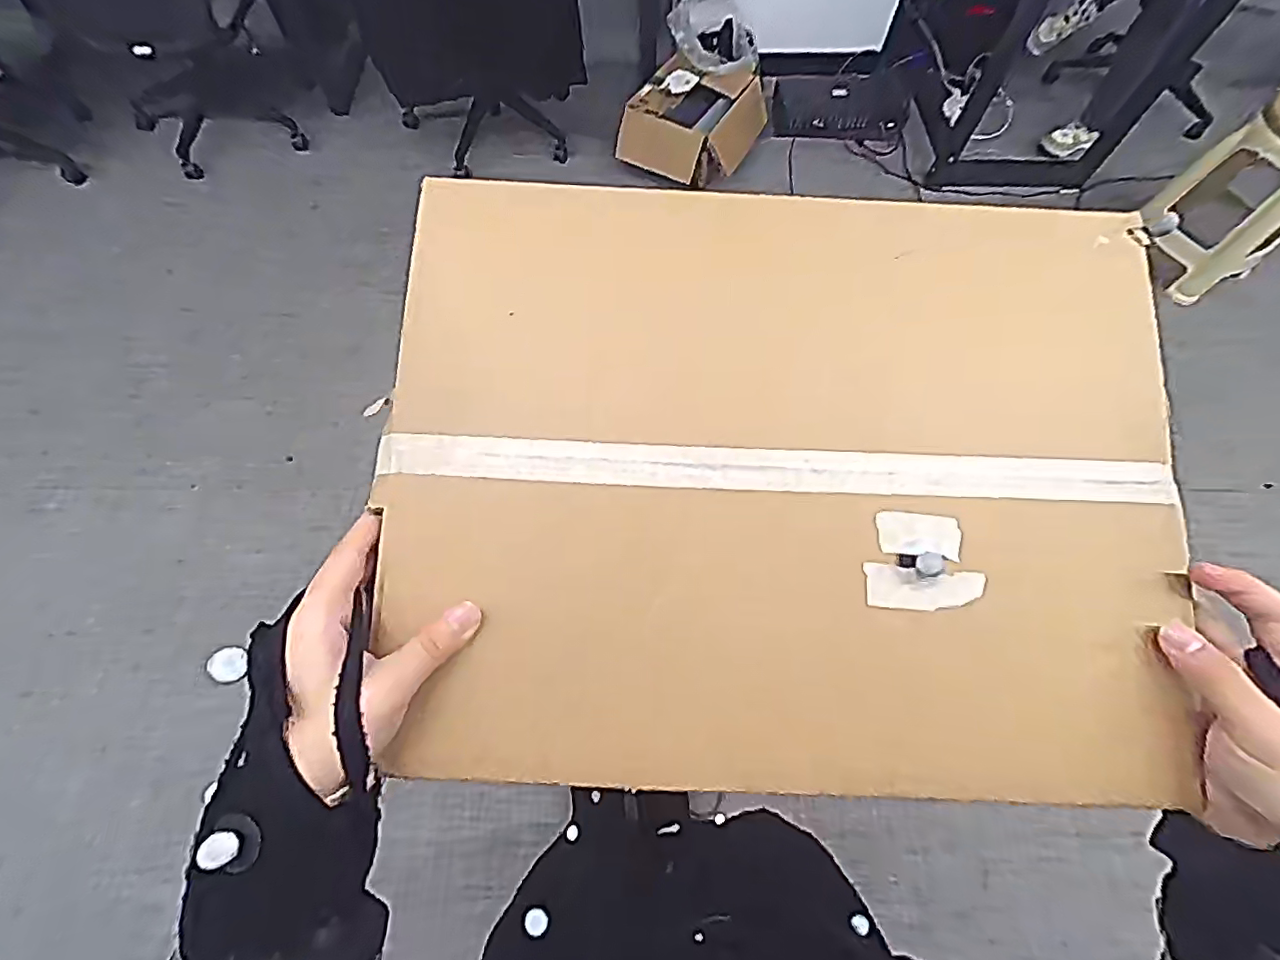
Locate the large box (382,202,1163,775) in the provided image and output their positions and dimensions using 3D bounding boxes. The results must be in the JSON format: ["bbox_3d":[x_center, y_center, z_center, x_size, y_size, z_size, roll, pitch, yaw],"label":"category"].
[{"bbox_3d":[0.068,0.018,0.441,0.408,0.320,0.320,2,82,-1],"label":"large box"}]
